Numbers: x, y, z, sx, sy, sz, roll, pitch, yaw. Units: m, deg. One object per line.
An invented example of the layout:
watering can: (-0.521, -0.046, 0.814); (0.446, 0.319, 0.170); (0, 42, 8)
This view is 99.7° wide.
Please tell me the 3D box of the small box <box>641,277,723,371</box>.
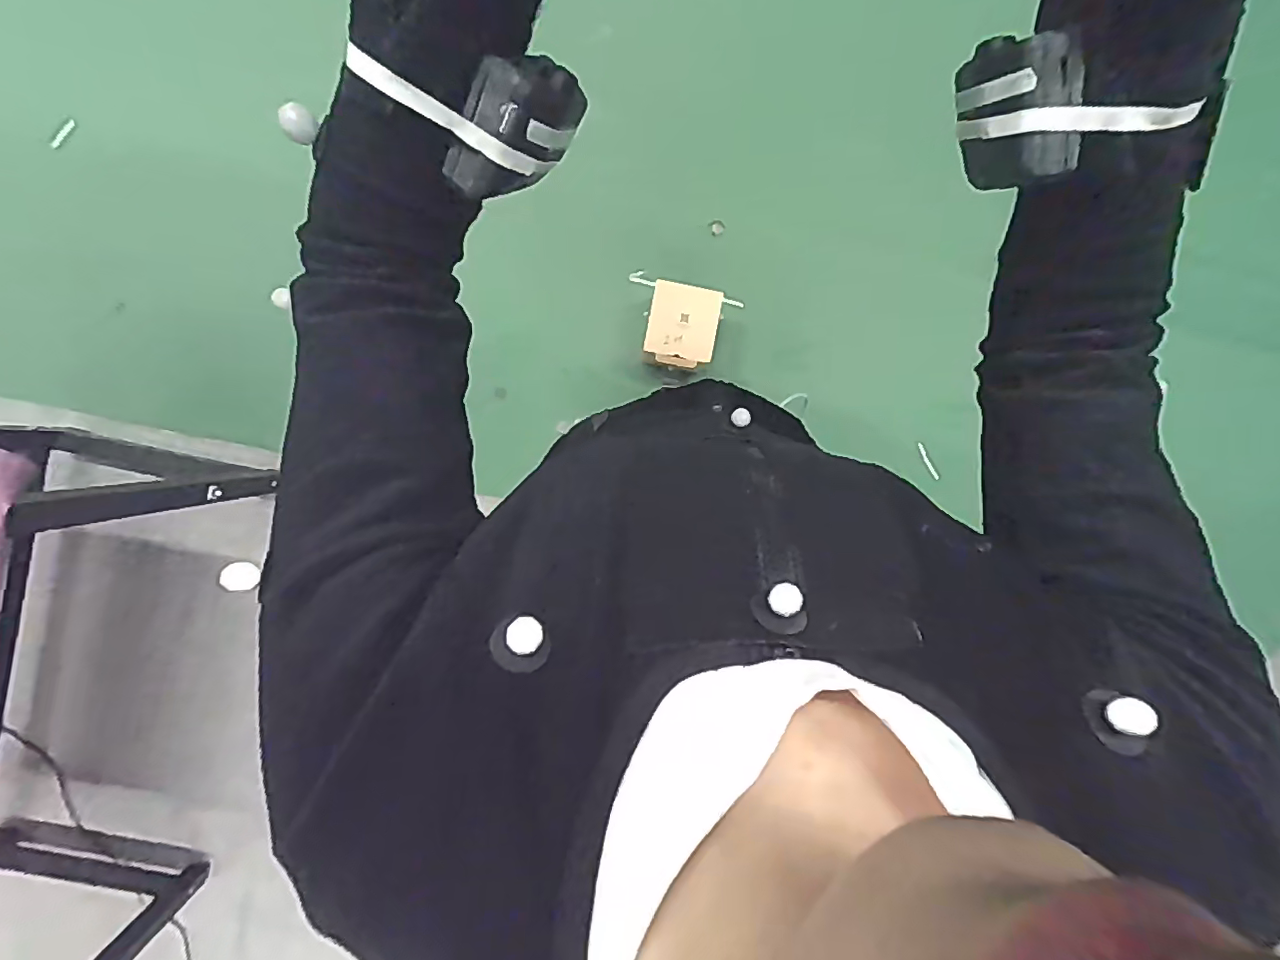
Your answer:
small box: (0.099, -0.387, 1.368); (0.168, 0.176, 0.179); (11, 93, -3)
